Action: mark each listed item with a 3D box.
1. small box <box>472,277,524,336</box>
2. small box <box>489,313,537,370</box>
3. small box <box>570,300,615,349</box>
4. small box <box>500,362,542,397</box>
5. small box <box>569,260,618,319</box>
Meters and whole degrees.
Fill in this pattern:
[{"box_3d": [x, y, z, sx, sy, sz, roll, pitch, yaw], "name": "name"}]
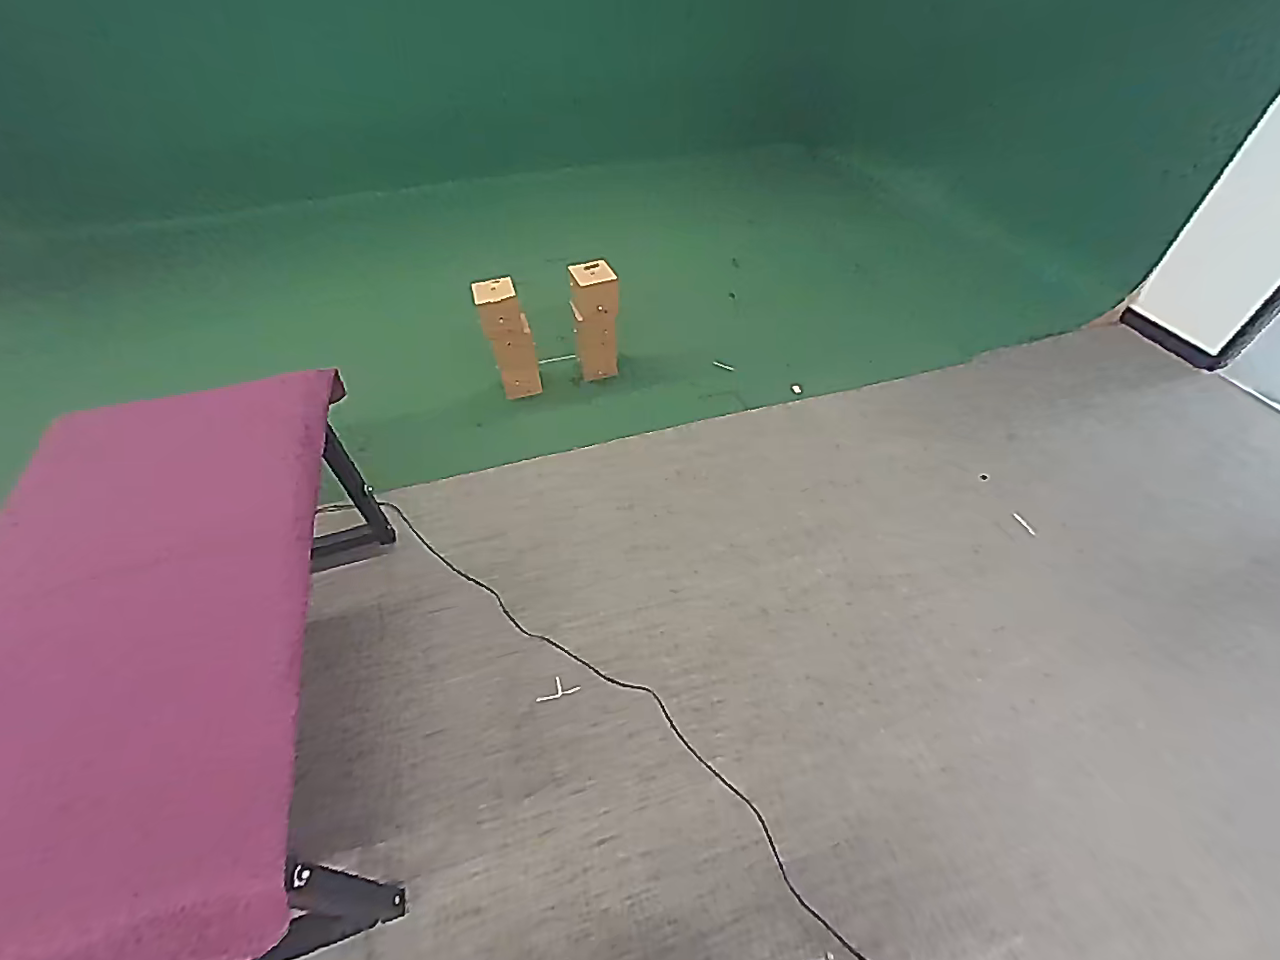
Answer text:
[{"box_3d": [-0.596, -0.723, 2.274, 0.168, 0.176, 0.179, -15, 50, -9], "name": "small box"}, {"box_3d": [-0.567, -0.609, 2.391, 0.179, 0.176, 0.168, -15, 49, -11], "name": "small box"}, {"box_3d": [-0.214, -0.717, 2.472, 0.168, 0.176, 0.179, -14, 50, -11], "name": "small box"}, {"box_3d": [-0.560, -0.503, 2.517, 0.168, 0.176, 0.179, -15, 49, -10], "name": "small box"}, {"box_3d": [-0.202, -0.828, 2.352, 0.168, 0.176, 0.179, -18, 53, -15], "name": "small box"}]
